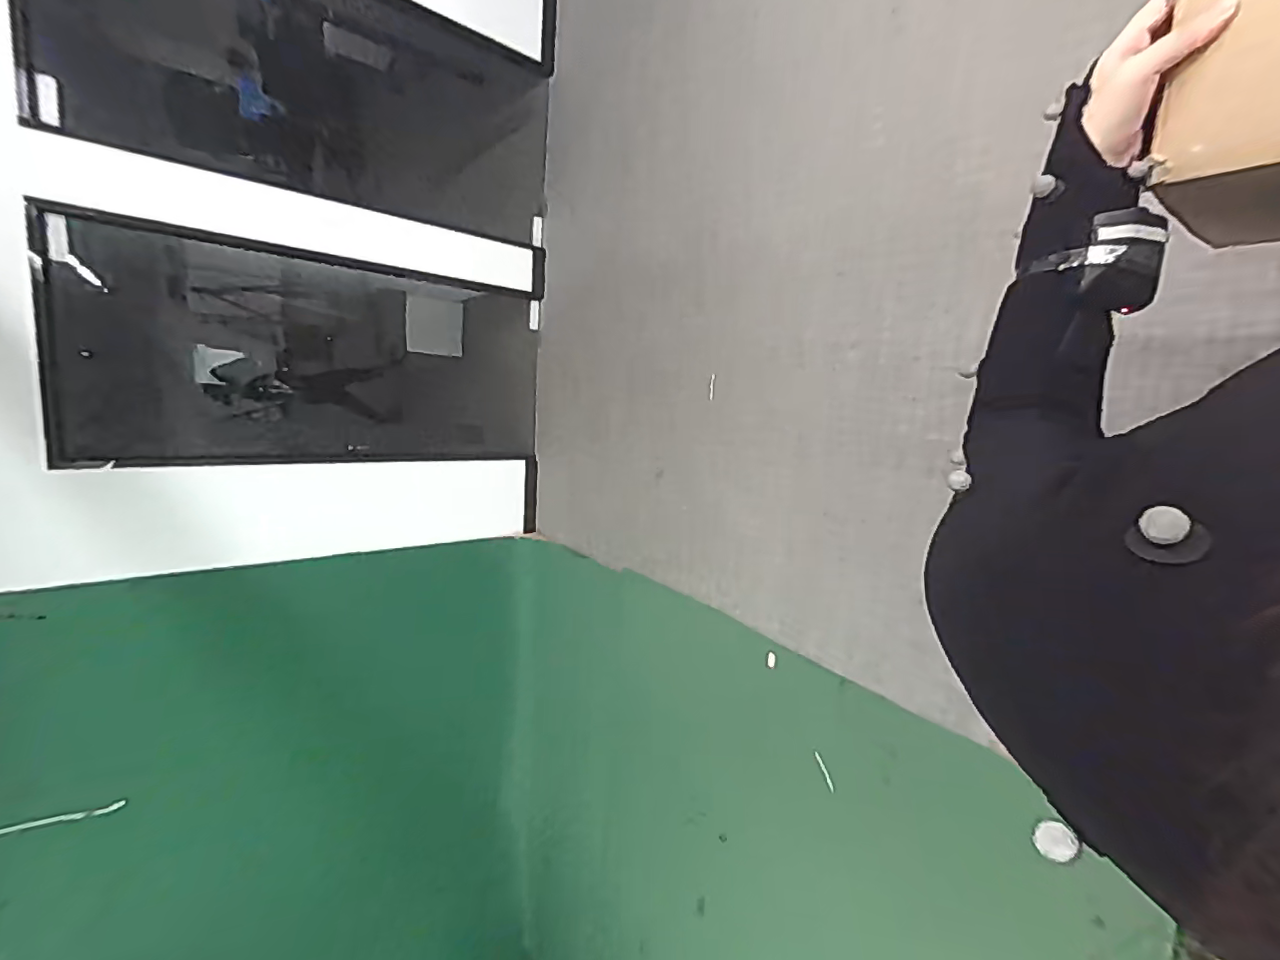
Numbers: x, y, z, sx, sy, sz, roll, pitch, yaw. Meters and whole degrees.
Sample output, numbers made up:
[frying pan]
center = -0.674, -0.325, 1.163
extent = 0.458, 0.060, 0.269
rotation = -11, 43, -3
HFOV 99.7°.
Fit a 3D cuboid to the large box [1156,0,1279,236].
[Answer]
[large box]
center = 0.632, -0.365, 0.316
extent = 0.408, 0.320, 0.320
rotation = 14, 107, 53
